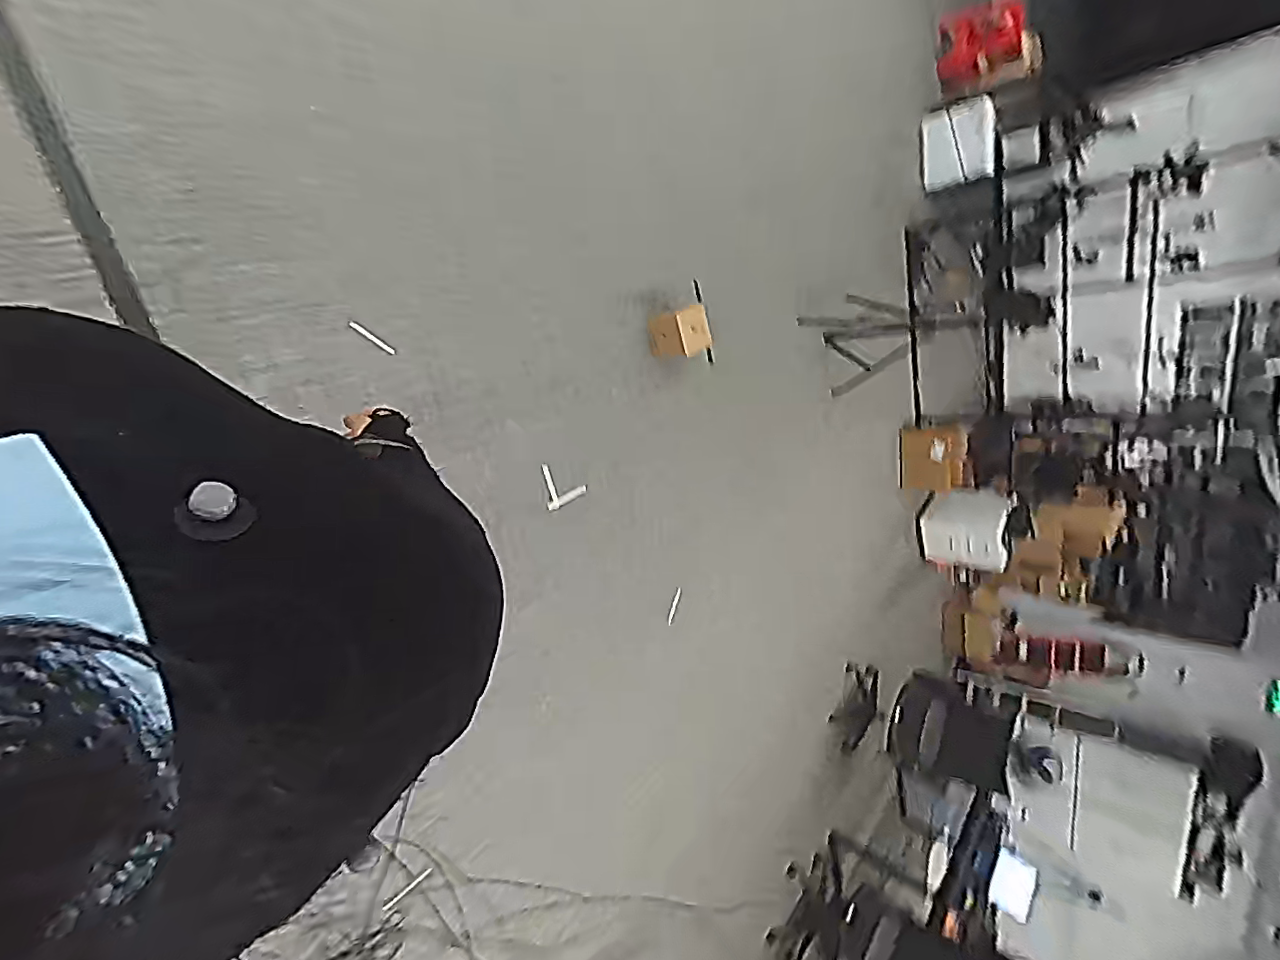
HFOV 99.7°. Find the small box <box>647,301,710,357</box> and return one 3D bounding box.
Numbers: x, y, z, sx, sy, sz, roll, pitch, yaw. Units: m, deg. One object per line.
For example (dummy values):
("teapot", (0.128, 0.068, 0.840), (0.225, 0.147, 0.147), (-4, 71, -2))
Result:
("small box", (0.144, -0.594, 2.137), (0.179, 0.176, 0.168), (-34, 118, -38))
